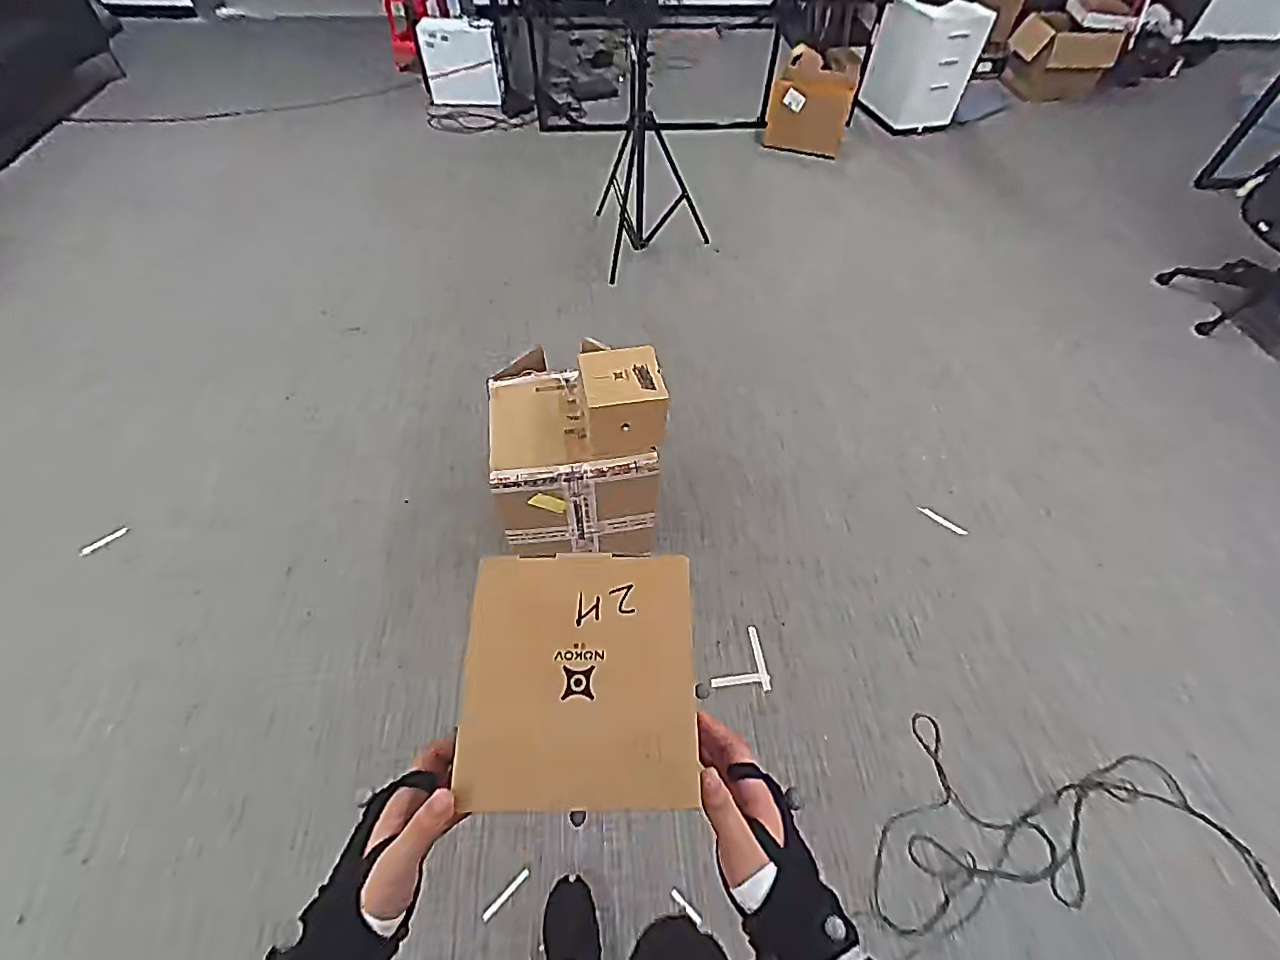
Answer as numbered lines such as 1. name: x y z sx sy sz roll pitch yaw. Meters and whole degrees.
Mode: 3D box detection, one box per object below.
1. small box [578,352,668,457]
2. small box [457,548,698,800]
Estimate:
1. small box: -0.045 -0.171 1.248 0.179 0.176 0.168 -9 57 -9
2. small box: -0.042 0.169 0.466 0.168 0.176 0.179 0 61 -1
